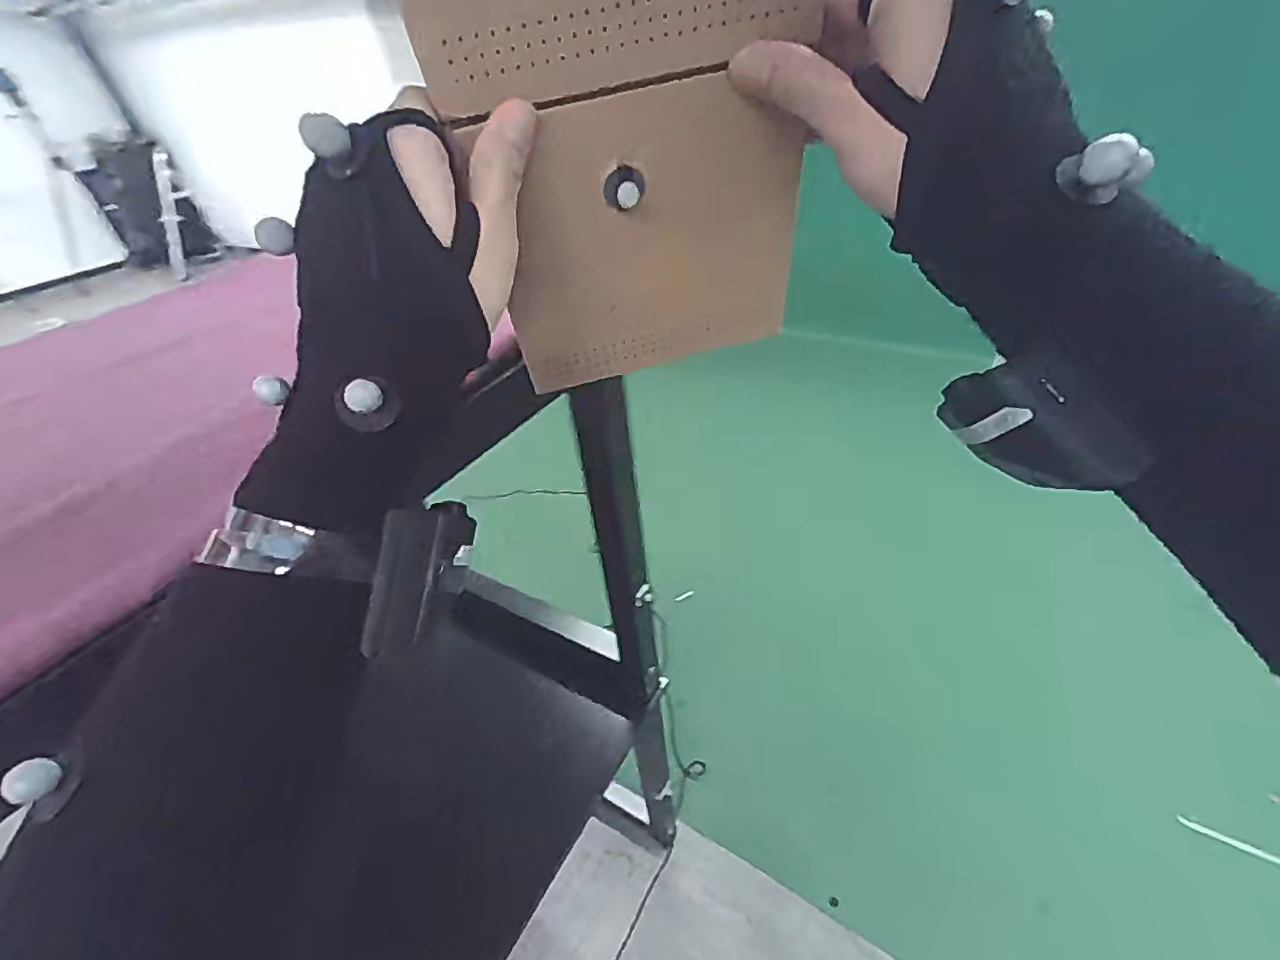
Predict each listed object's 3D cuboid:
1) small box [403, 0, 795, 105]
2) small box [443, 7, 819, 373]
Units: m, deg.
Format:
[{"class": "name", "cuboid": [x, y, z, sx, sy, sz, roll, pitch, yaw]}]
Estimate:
[{"class": "small box", "cuboid": [-0.026, -0.286, 0.216, 0.179, 0.176, 0.168, -15, 54, -2]}, {"class": "small box", "cuboid": [-0.009, -0.192, 0.349, 0.179, 0.176, 0.168, -14, 54, -3]}]
